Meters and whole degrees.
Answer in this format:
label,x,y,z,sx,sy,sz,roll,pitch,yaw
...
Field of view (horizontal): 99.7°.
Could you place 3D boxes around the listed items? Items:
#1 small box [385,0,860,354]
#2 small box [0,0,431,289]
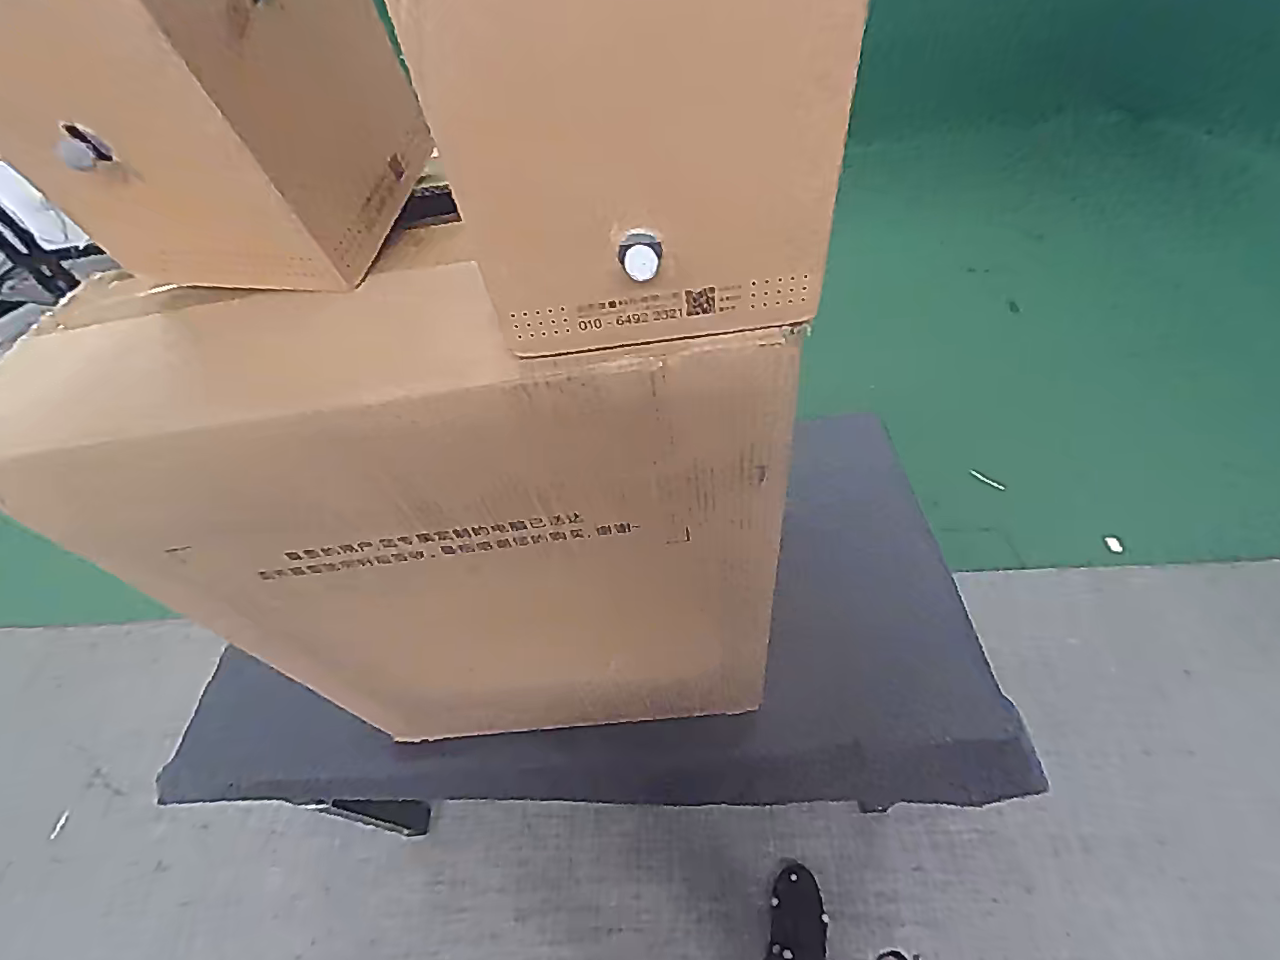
label,x,y,z,sx,sy,sz,roll,pitch,yaw
small box,-0.004,-0.190,0.278,0.168,0.176,0.179,-6,51,4
small box,-0.270,-0.242,0.342,0.179,0.176,0.168,5,63,11
